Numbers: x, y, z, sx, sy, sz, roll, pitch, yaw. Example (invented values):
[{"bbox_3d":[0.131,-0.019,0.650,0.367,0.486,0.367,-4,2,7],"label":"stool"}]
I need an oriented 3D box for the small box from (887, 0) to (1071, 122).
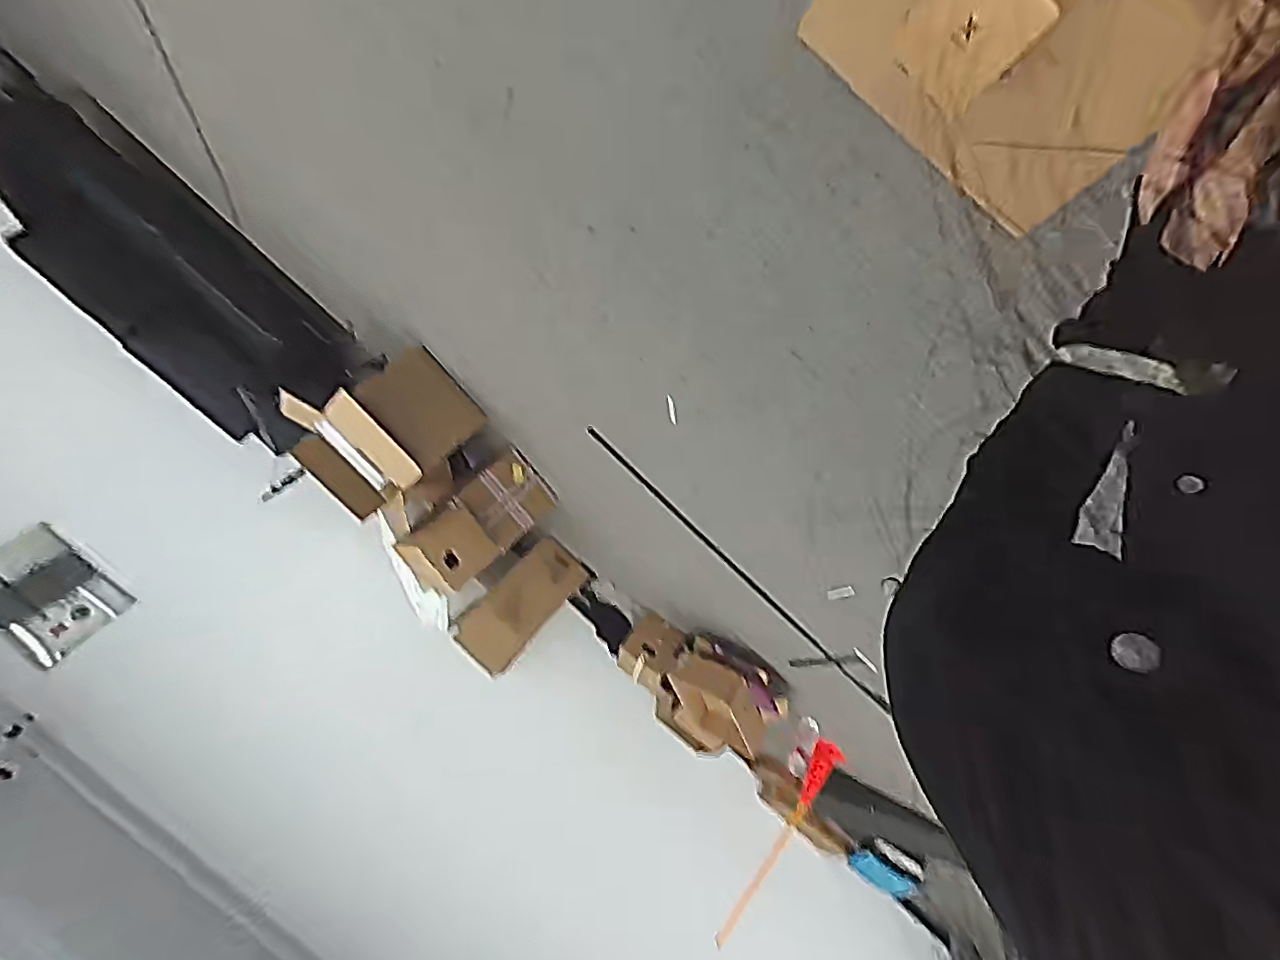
[{"bbox_3d":[0.533,-0.720,0.846,0.168,0.176,0.179,44,150,-5],"label":"small box"}]
